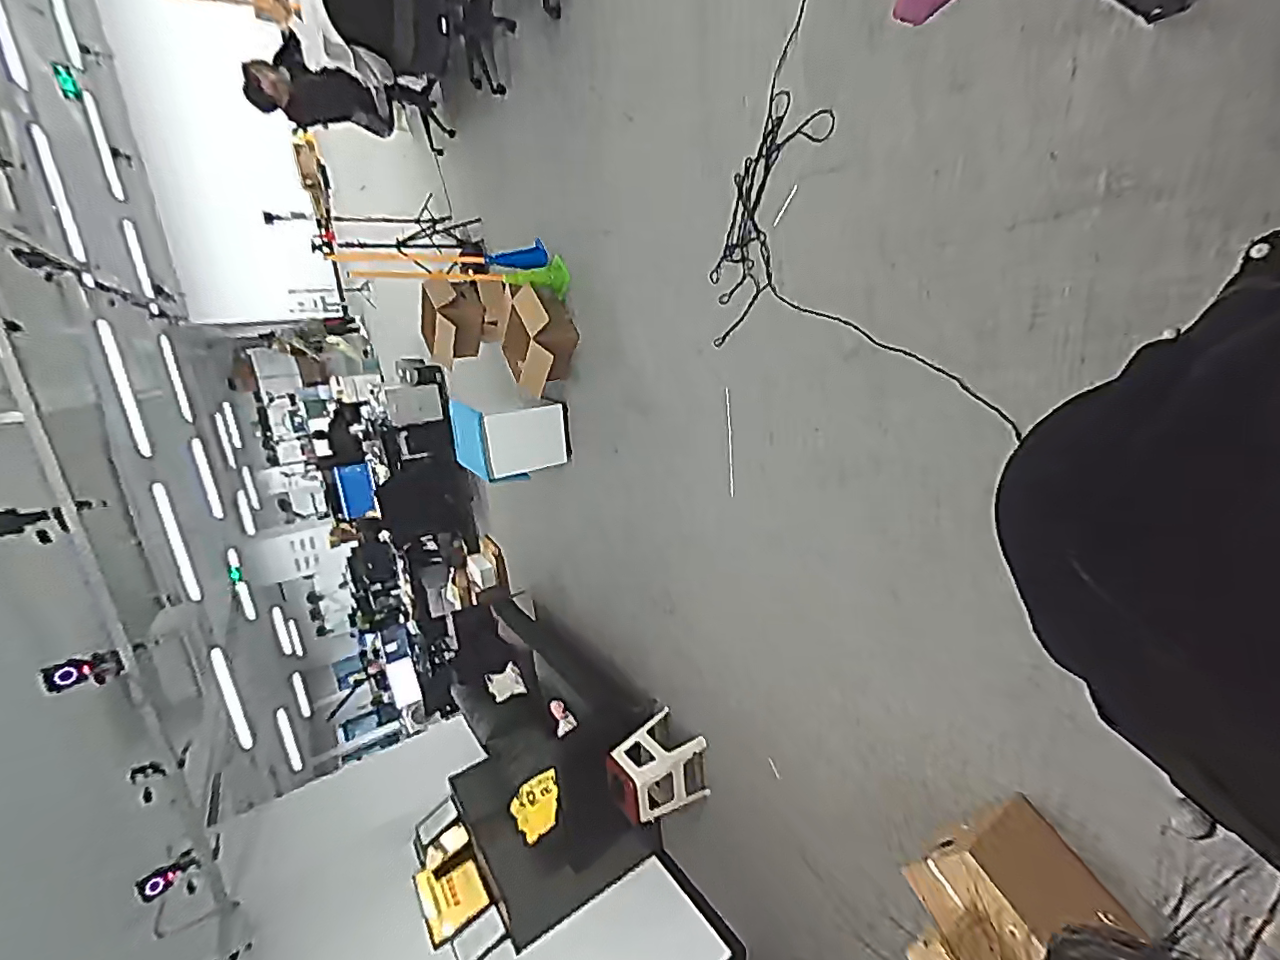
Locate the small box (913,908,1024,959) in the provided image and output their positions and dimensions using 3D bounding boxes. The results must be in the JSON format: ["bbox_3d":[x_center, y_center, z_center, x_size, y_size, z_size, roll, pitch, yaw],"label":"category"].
[{"bbox_3d":[0.862,1.252,1.397,0.179,0.176,0.168,51,143,34],"label":"small box"}]
